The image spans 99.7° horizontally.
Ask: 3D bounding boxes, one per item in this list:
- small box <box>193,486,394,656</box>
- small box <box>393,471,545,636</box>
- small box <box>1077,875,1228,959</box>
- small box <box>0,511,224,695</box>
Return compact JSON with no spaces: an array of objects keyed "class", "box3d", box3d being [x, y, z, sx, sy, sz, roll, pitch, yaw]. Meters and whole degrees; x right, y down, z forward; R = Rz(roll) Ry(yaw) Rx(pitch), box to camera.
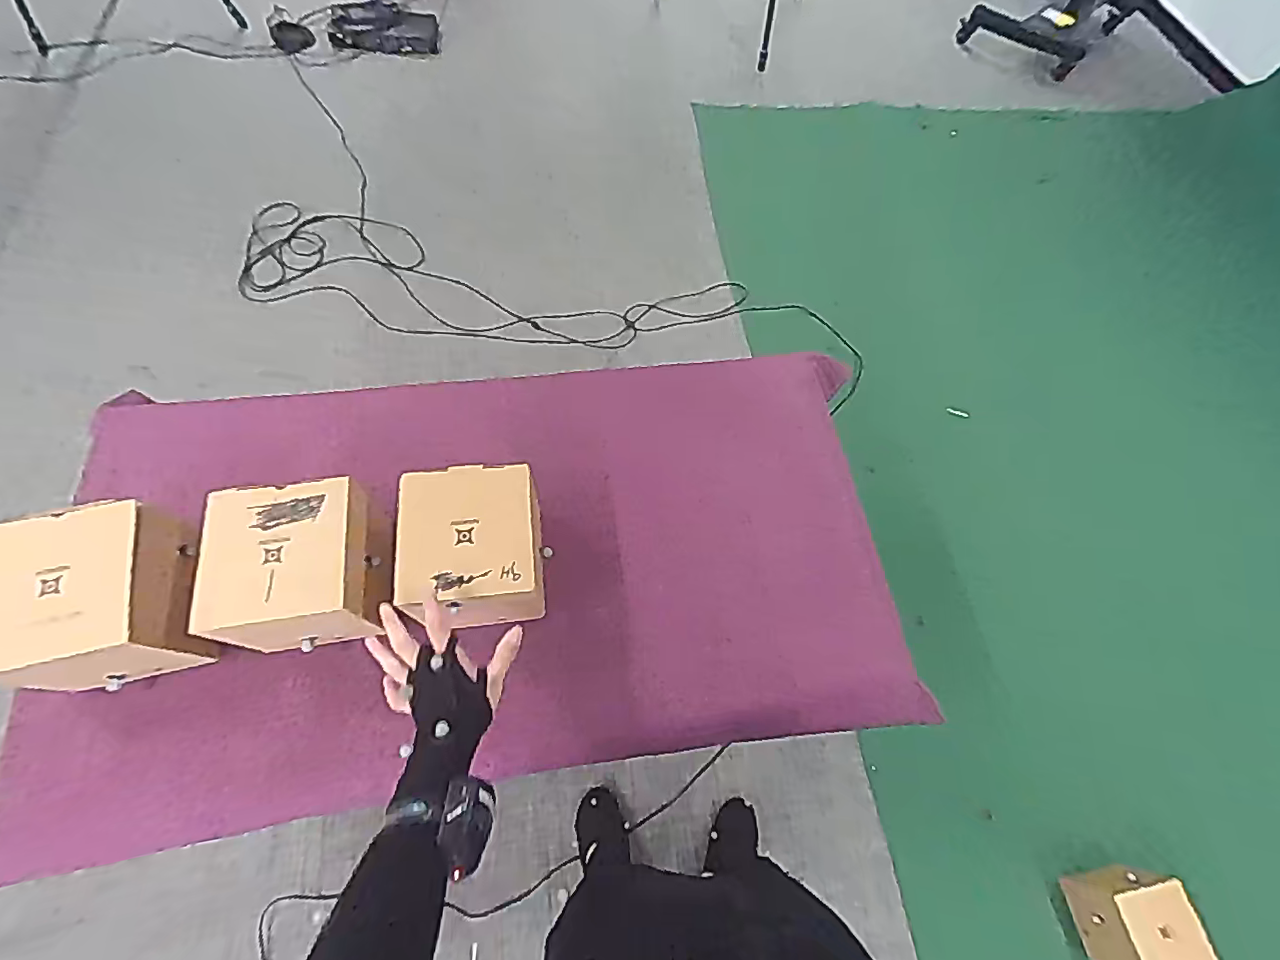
[{"class":"small box","box3d":[-0.444,0.127,0.726,0.168,0.176,0.179,-7,67,-7]},{"class":"small box","box3d":[-0.225,0.106,0.751,0.168,0.176,0.179,-5,64,-6]},{"class":"small box","box3d":[1.142,1.017,1.217,0.179,0.176,0.168,-6,65,-8]},{"class":"small box","box3d":[-0.666,0.163,0.693,0.168,0.176,0.179,-12,67,-9]}]
